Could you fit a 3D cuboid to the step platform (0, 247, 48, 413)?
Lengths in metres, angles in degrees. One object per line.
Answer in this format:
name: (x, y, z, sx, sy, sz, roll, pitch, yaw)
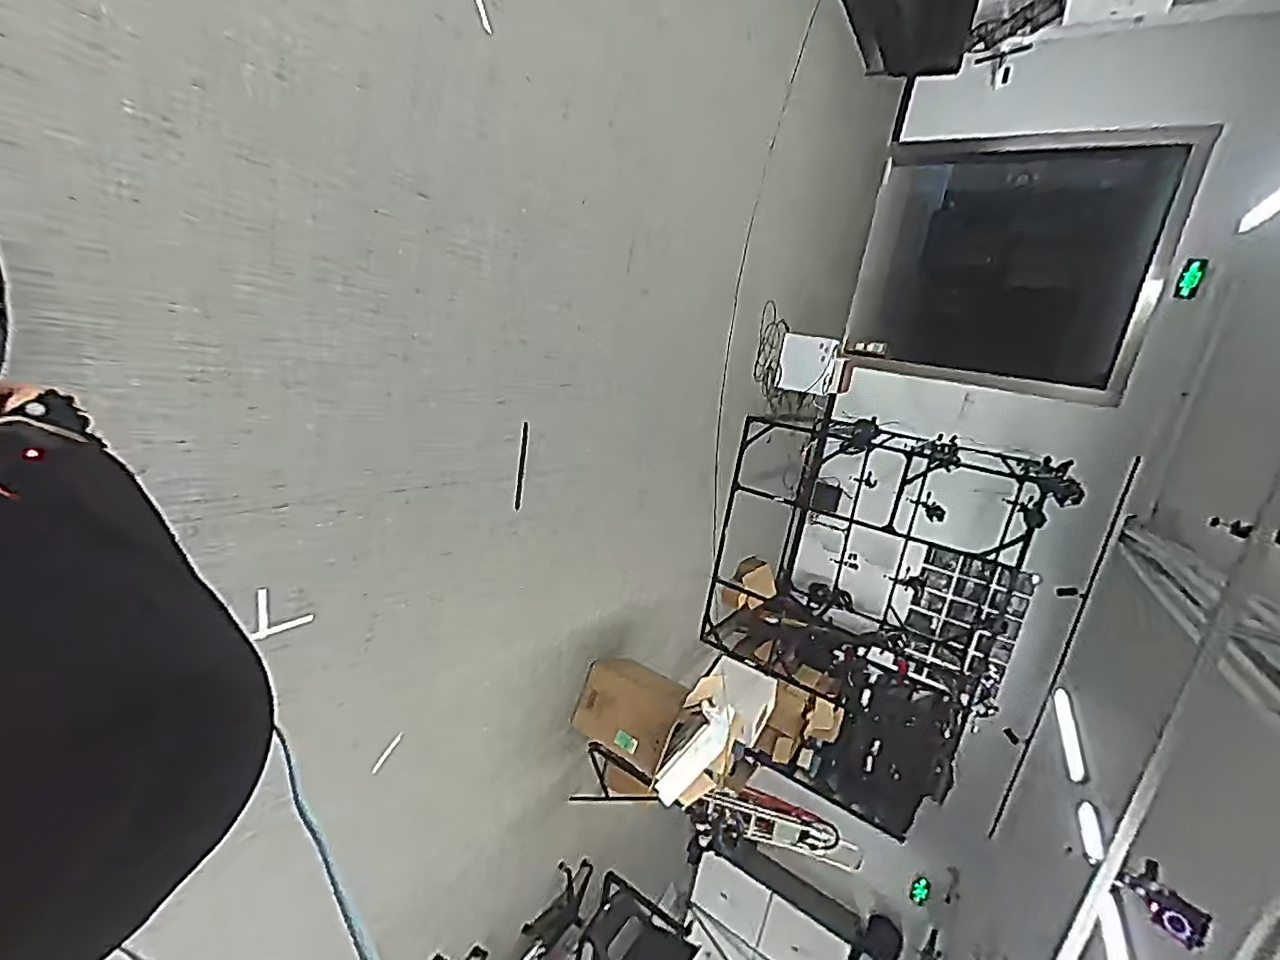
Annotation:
step platform: (-1.293, -0.264, 0.719, 0.684, 0.204, 0.286, -2, 106, -59)
